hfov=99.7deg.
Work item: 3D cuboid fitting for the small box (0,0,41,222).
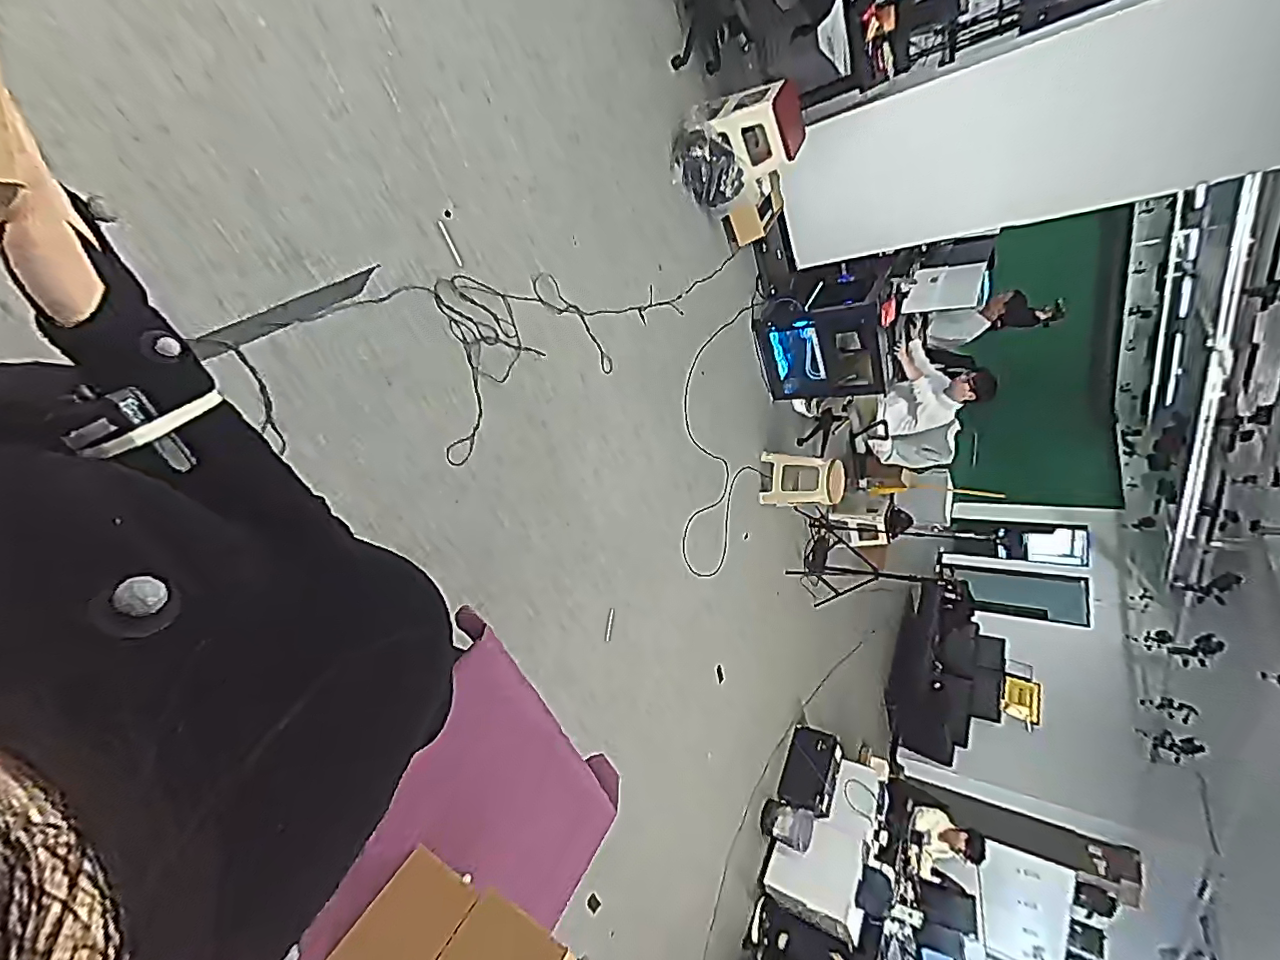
[{"bbox_3d":[-0.370,-0.195,0.194,0.179,0.176,0.168,-17,110,-52],"label":"small box"}]

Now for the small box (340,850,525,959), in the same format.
[{"bbox_3d":[-0.313,0.708,0.805,0.179,0.176,0.168,-46,127,-42],"label":"small box"}]
